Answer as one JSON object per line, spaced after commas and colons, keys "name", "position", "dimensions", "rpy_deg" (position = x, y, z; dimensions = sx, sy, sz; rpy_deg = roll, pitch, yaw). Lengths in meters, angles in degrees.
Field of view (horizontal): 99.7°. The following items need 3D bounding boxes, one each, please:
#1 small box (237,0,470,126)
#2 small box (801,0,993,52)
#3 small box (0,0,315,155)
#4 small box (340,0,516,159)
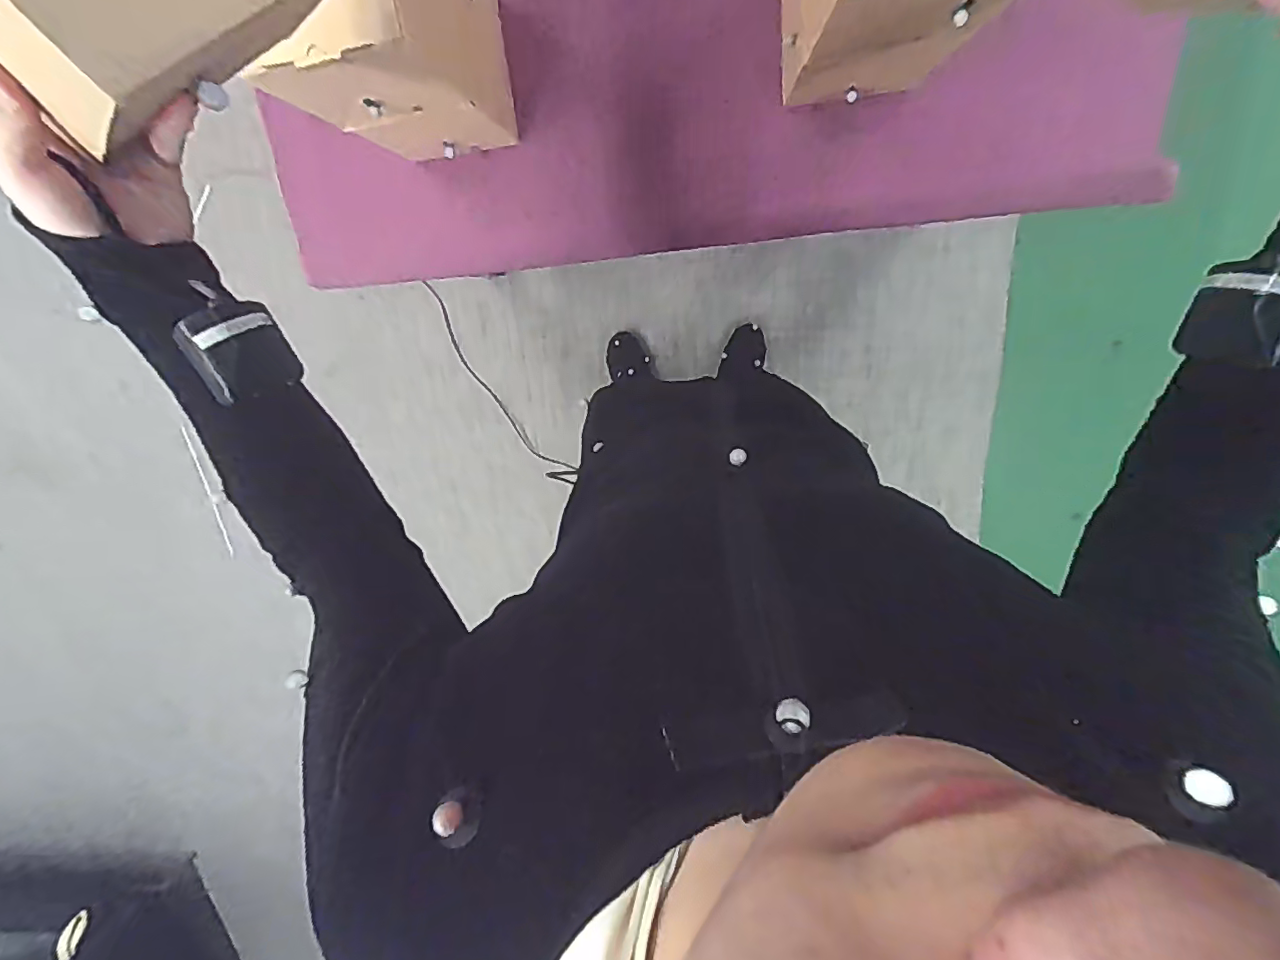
{"name": "small box", "position": [-0.287, -0.478, 0.524], "dimensions": [0.168, 0.176, 0.179], "rpy_deg": [-5, 109, 8]}
{"name": "small box", "position": [0.233, -0.498, 0.456], "dimensions": [0.168, 0.176, 0.179], "rpy_deg": [-4, 108, 8]}
{"name": "small box", "position": [-0.280, -0.300, 0.266], "dimensions": [0.176, 0.179, 0.168], "rpy_deg": [-54, 134, -18]}
{"name": "small box", "position": [-0.271, -0.529, 0.677], "dimensions": [0.168, 0.176, 0.179], "rpy_deg": [-4, 109, 8]}
